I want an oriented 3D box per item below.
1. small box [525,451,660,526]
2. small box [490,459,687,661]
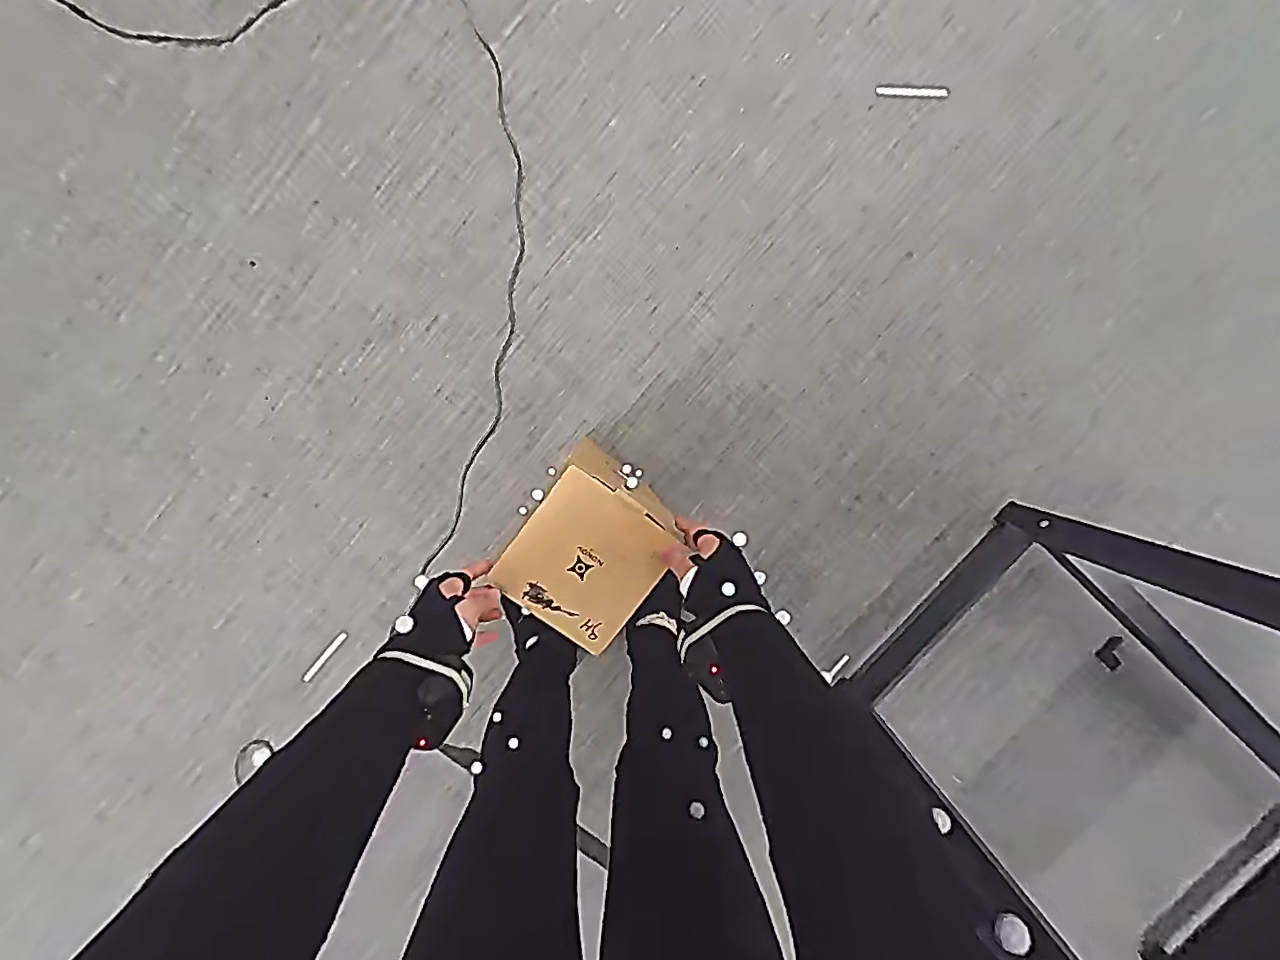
[{"bbox_3d":[-0.083,0.071,0.867,0.168,0.176,0.179,33,94,-8],"label":"small box"},{"bbox_3d":[-0.066,0.089,0.703,0.168,0.176,0.179,37,94,-7],"label":"small box"}]
